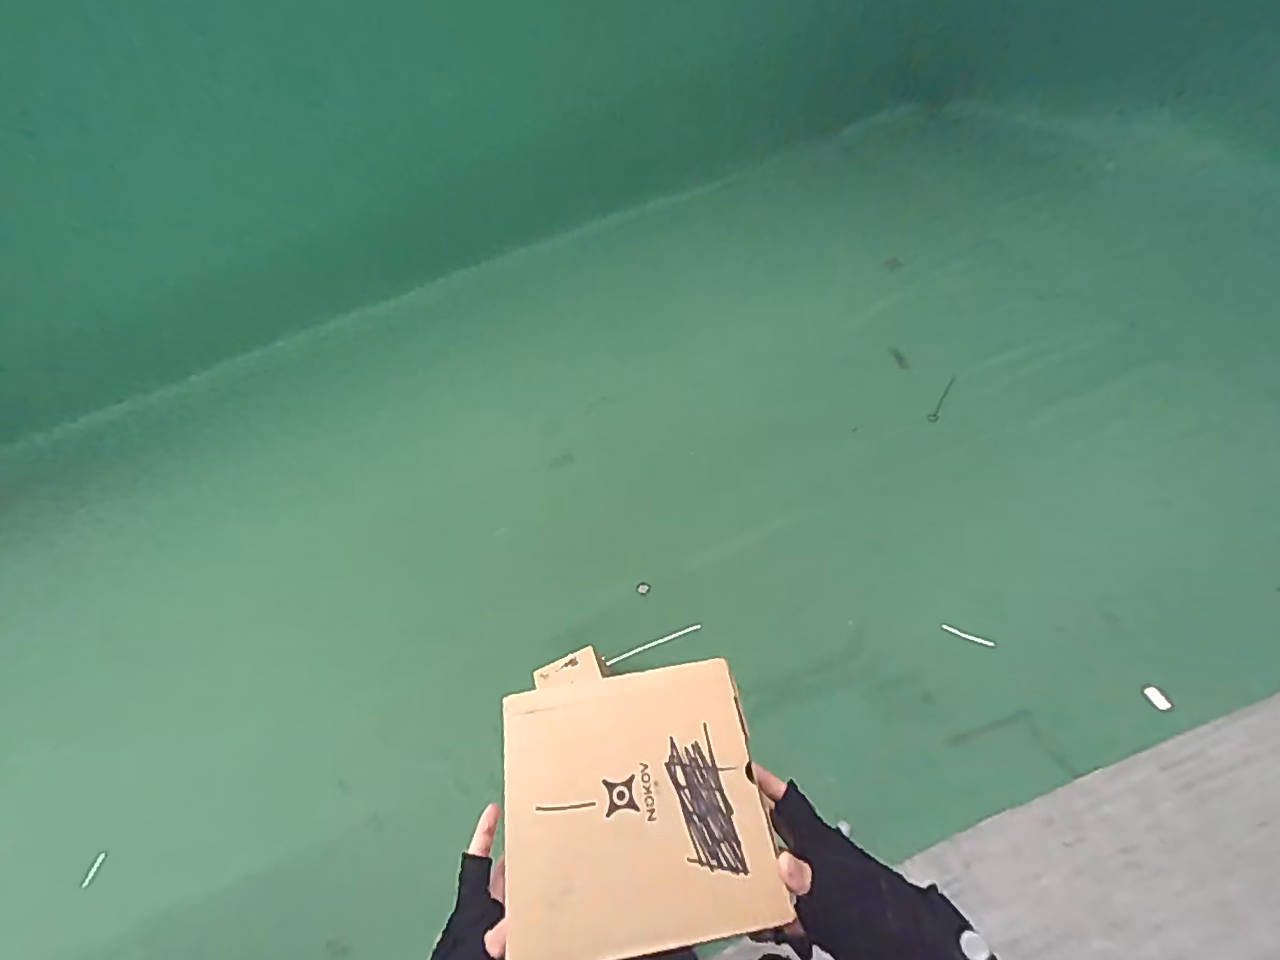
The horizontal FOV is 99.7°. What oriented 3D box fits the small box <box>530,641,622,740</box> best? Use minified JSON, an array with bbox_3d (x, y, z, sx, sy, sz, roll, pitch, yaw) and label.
[{"bbox_3d":[-0.160,0.546,1.386,0.168,0.176,0.179,-23,53,-3],"label":"small box"}]
